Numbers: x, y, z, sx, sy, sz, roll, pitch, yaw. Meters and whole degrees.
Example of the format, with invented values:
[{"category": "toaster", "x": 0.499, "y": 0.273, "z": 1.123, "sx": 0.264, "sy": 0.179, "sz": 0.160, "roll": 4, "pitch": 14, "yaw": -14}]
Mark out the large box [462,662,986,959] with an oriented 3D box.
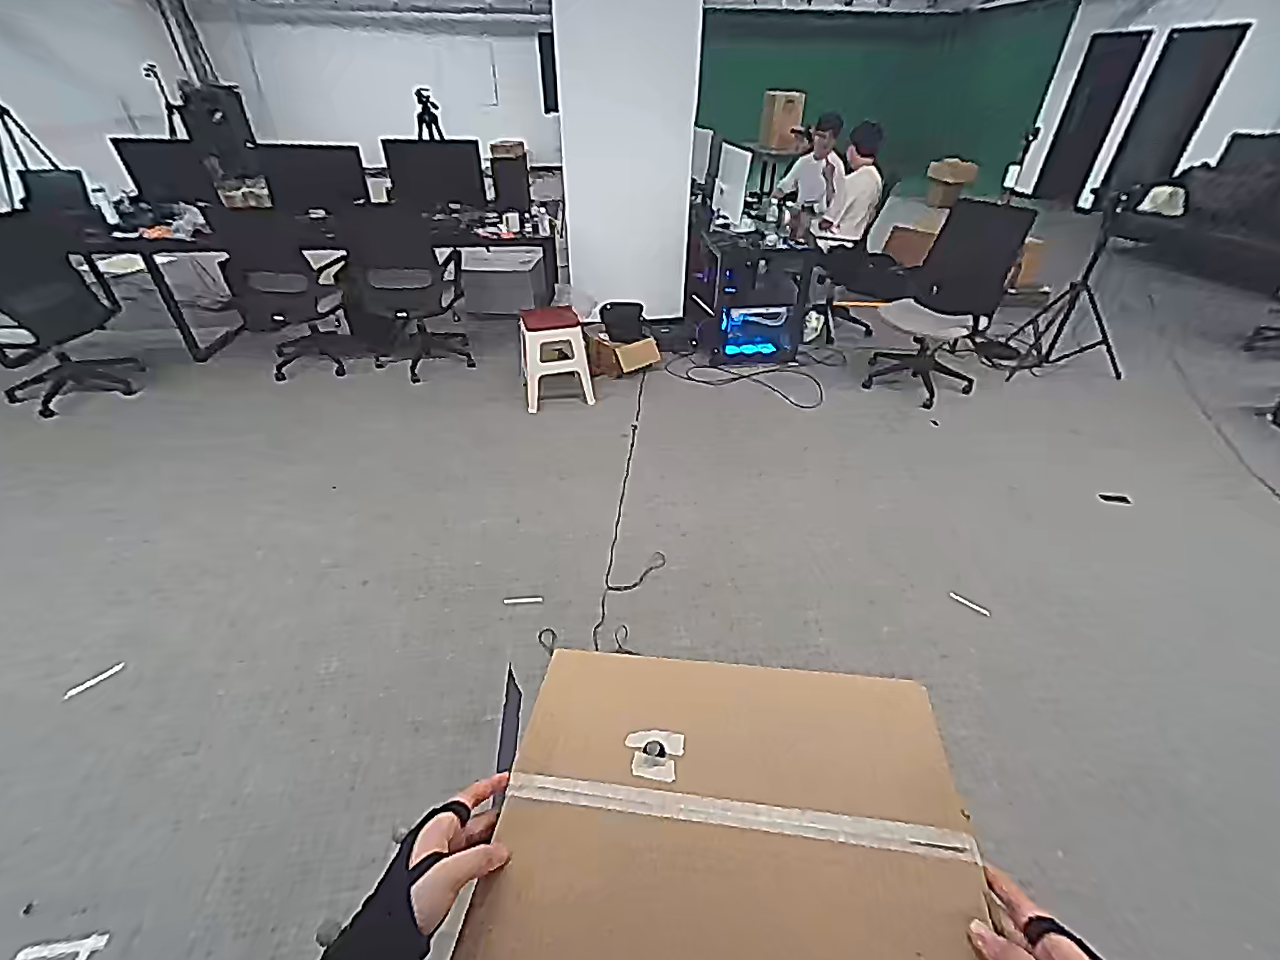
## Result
[{"category": "large box", "x": 0.088, "y": 0.426, "z": 0.581, "sx": 0.408, "sy": 0.320, "sz": 0.320, "roll": 0, "pitch": 36, "yaw": 11}]
